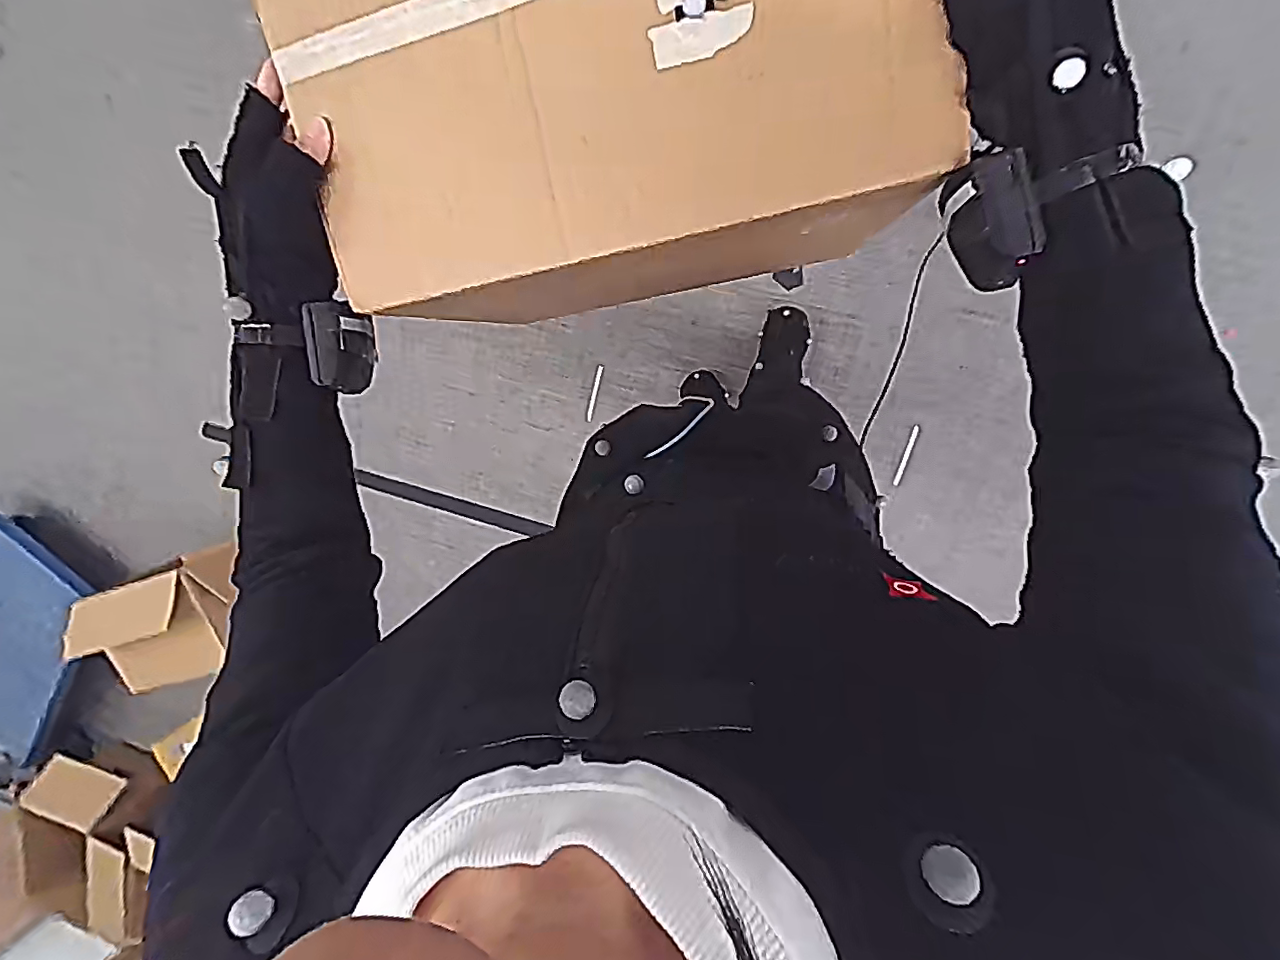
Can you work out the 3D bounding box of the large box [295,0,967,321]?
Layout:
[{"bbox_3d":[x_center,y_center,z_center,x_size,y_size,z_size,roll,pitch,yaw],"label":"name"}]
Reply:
[{"bbox_3d":[-0.006,-0.340,0.467,0.408,0.320,0.320,-8,103,11],"label":"large box"}]
